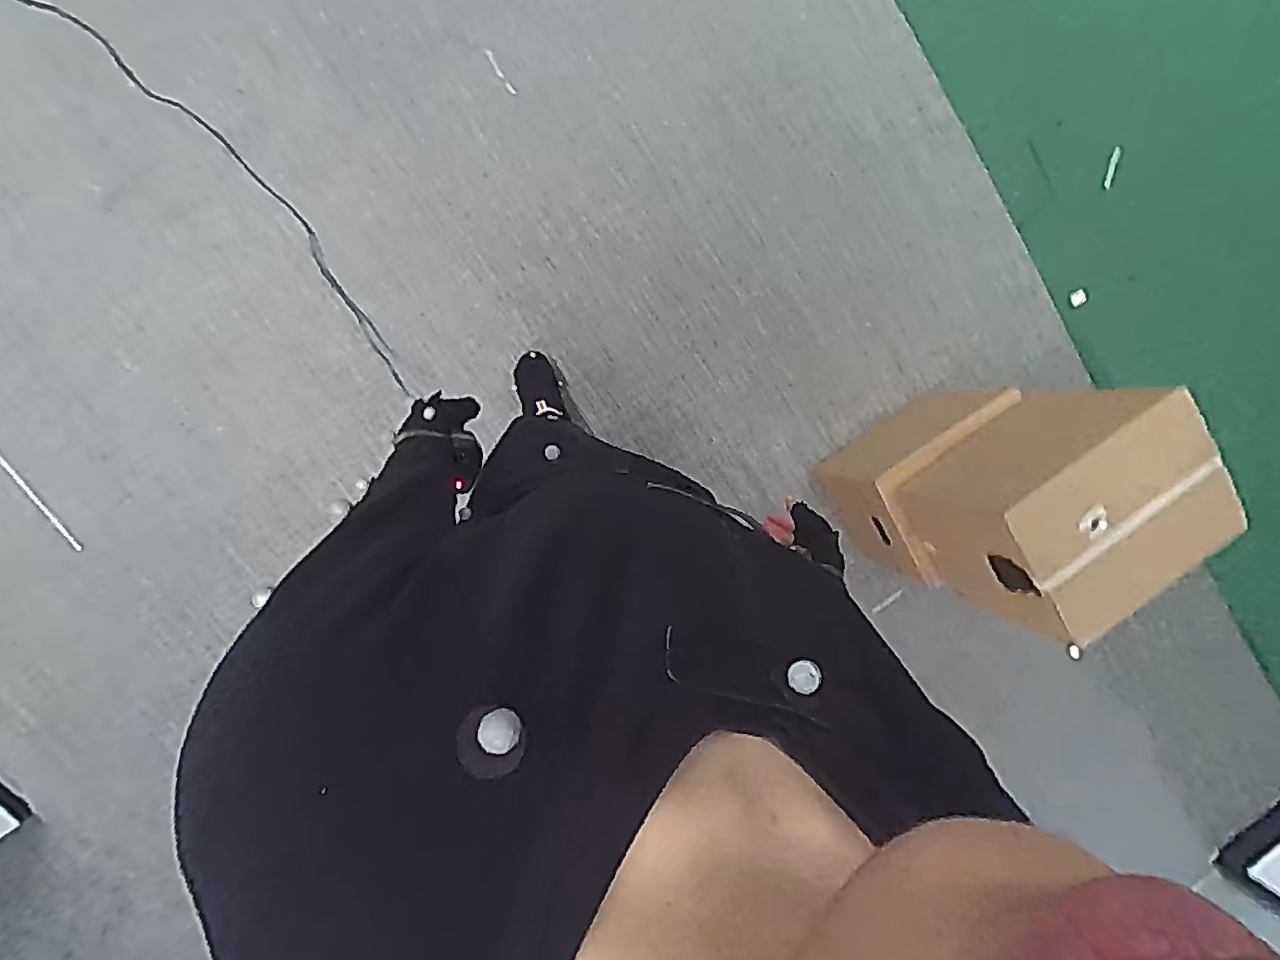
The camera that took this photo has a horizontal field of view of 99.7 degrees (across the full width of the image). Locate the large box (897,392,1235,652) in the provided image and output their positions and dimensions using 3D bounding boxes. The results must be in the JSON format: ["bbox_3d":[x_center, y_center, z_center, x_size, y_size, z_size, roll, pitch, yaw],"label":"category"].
[{"bbox_3d":[0.836,0.057,1.106,0.408,0.320,0.320,-34,100,-2],"label":"large box"}]
